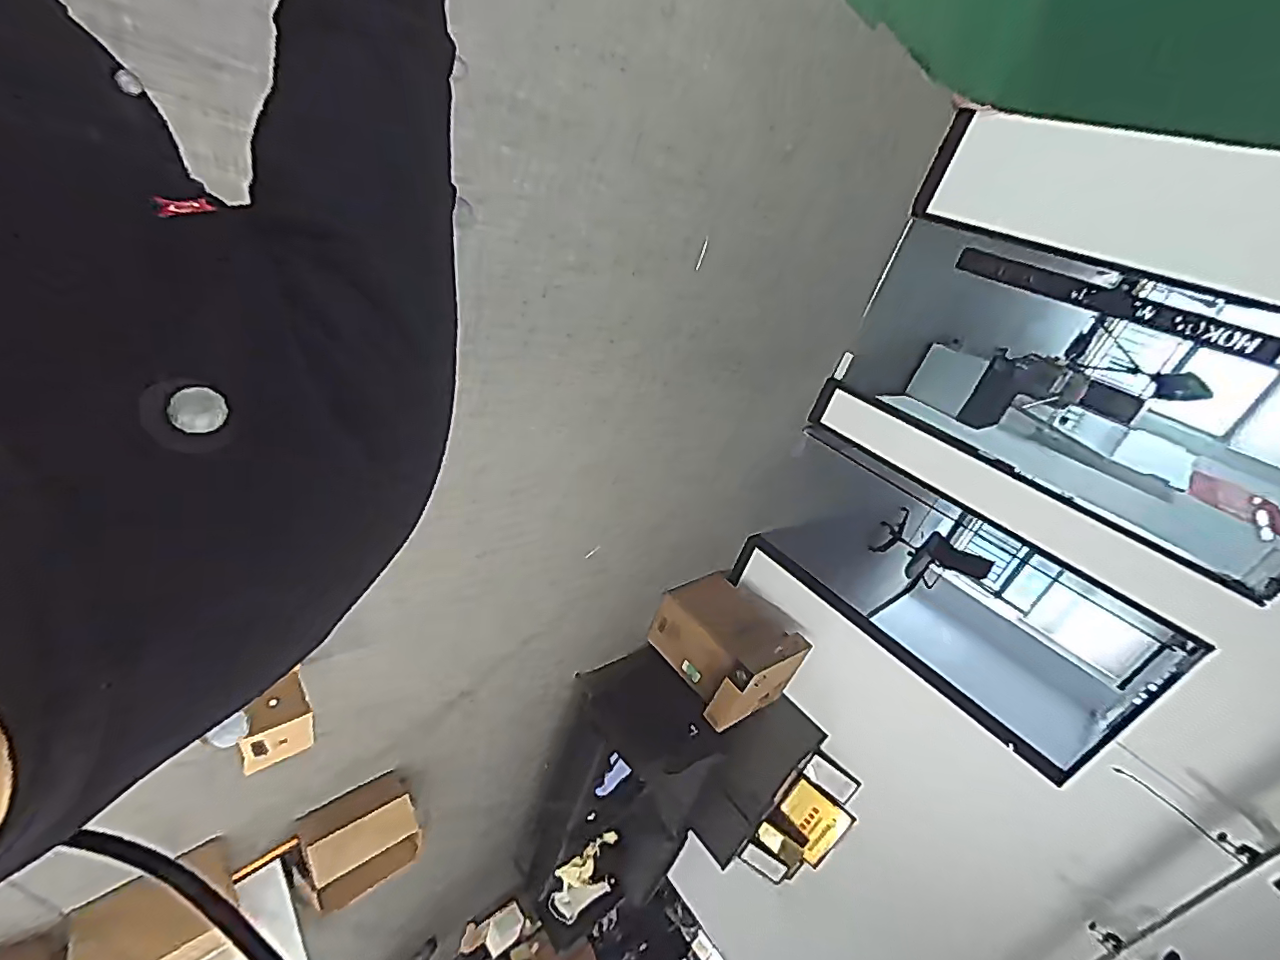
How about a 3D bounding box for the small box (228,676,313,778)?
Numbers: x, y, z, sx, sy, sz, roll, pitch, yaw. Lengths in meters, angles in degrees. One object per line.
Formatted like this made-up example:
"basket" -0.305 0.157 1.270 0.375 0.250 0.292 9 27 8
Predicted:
"small box" -1.078 0.712 1.575 0.179 0.176 0.168 -13 131 -43
